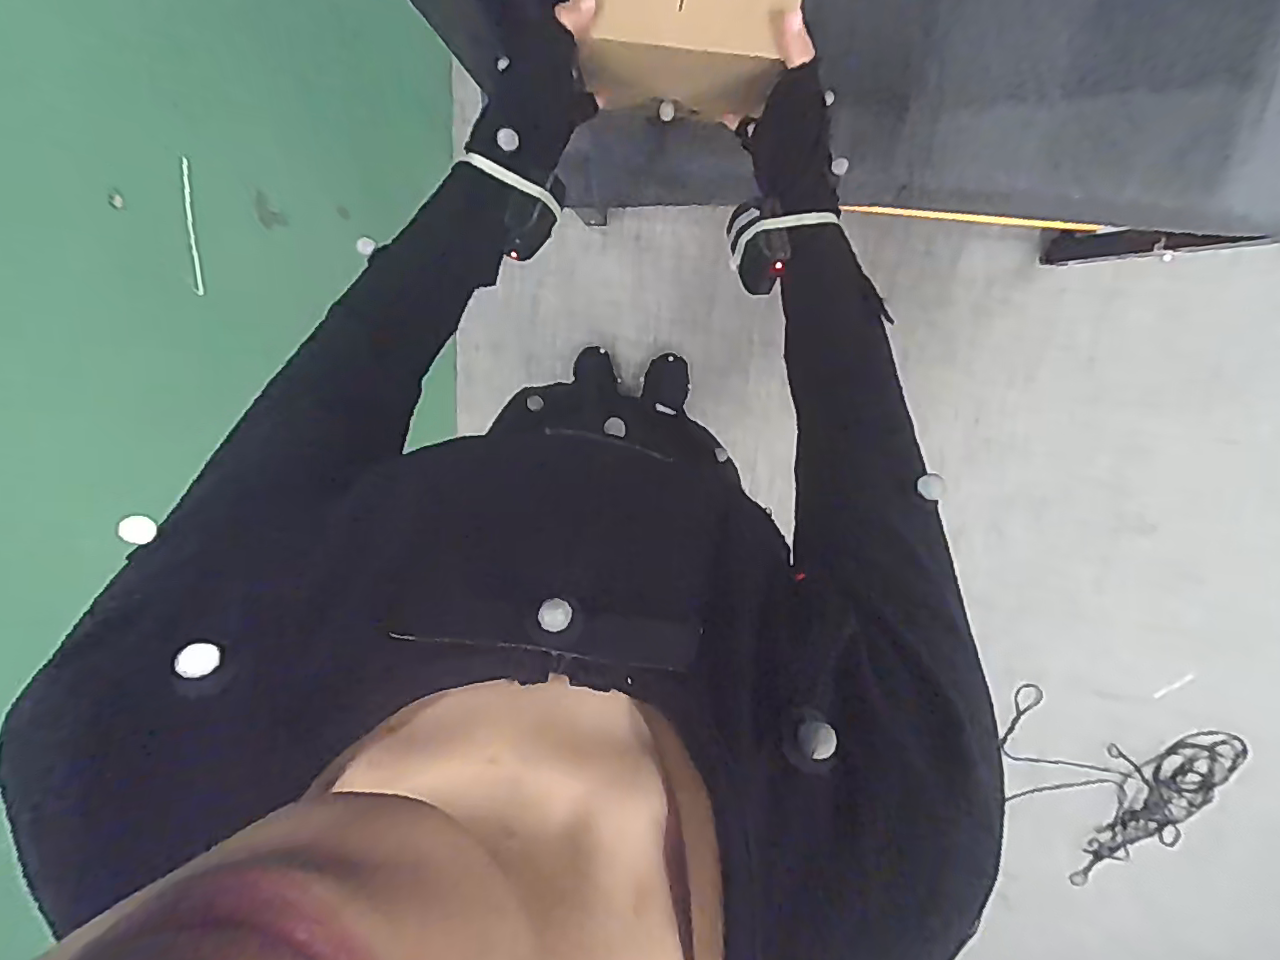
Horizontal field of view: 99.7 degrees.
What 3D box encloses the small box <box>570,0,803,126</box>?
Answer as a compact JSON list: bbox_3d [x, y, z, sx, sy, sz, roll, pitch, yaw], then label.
[{"bbox_3d":[0.041,-0.420,0.438,0.168,0.176,0.179,6,109,0],"label":"small box"}]
